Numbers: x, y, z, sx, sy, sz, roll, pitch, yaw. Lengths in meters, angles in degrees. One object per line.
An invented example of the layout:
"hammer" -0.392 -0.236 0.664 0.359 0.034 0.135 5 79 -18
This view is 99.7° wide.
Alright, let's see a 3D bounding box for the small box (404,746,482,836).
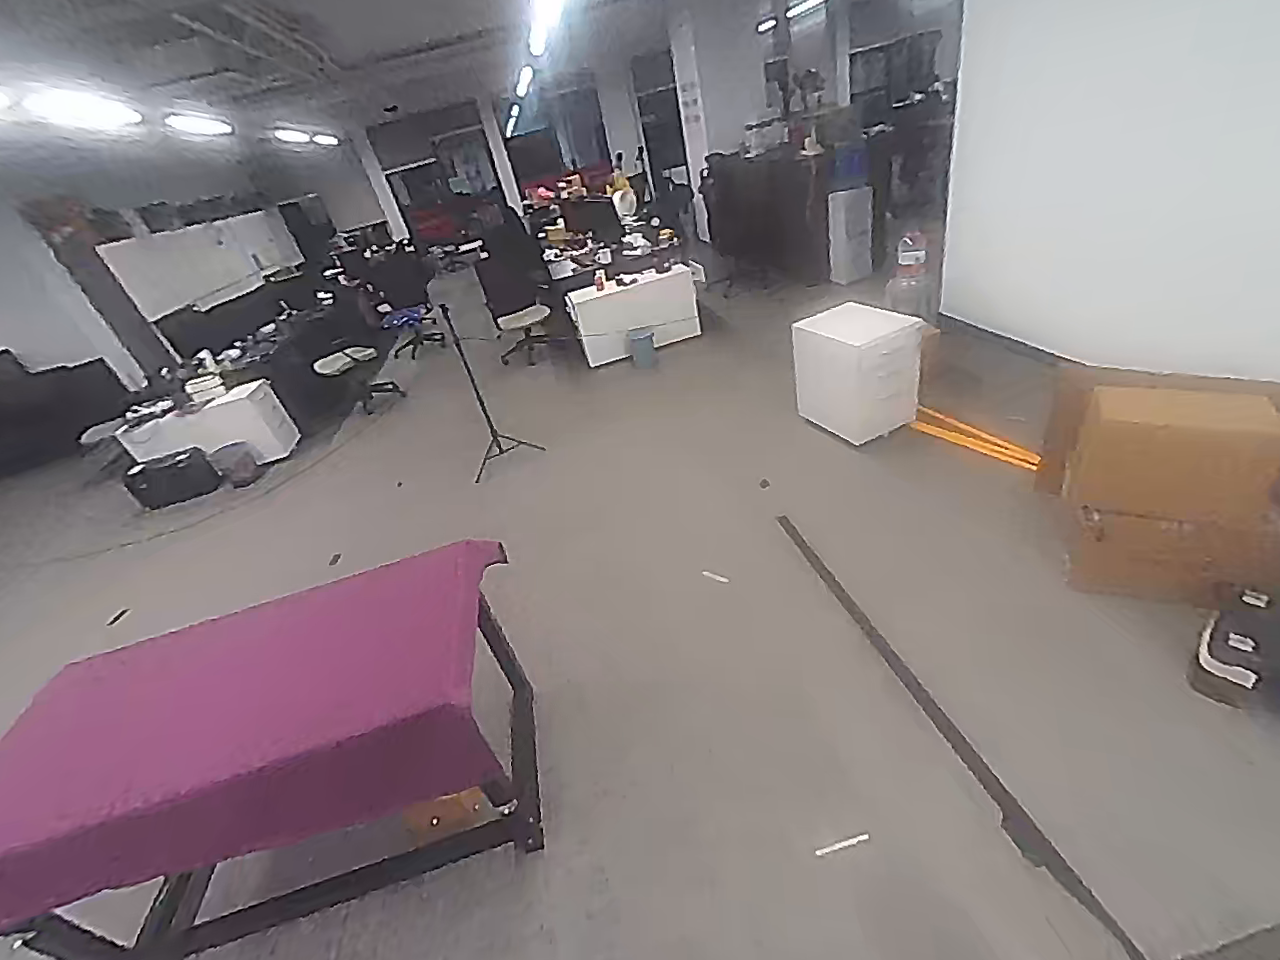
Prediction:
"small box" -0.616 0.985 1.713 0.179 0.176 0.168 -17 32 -3
